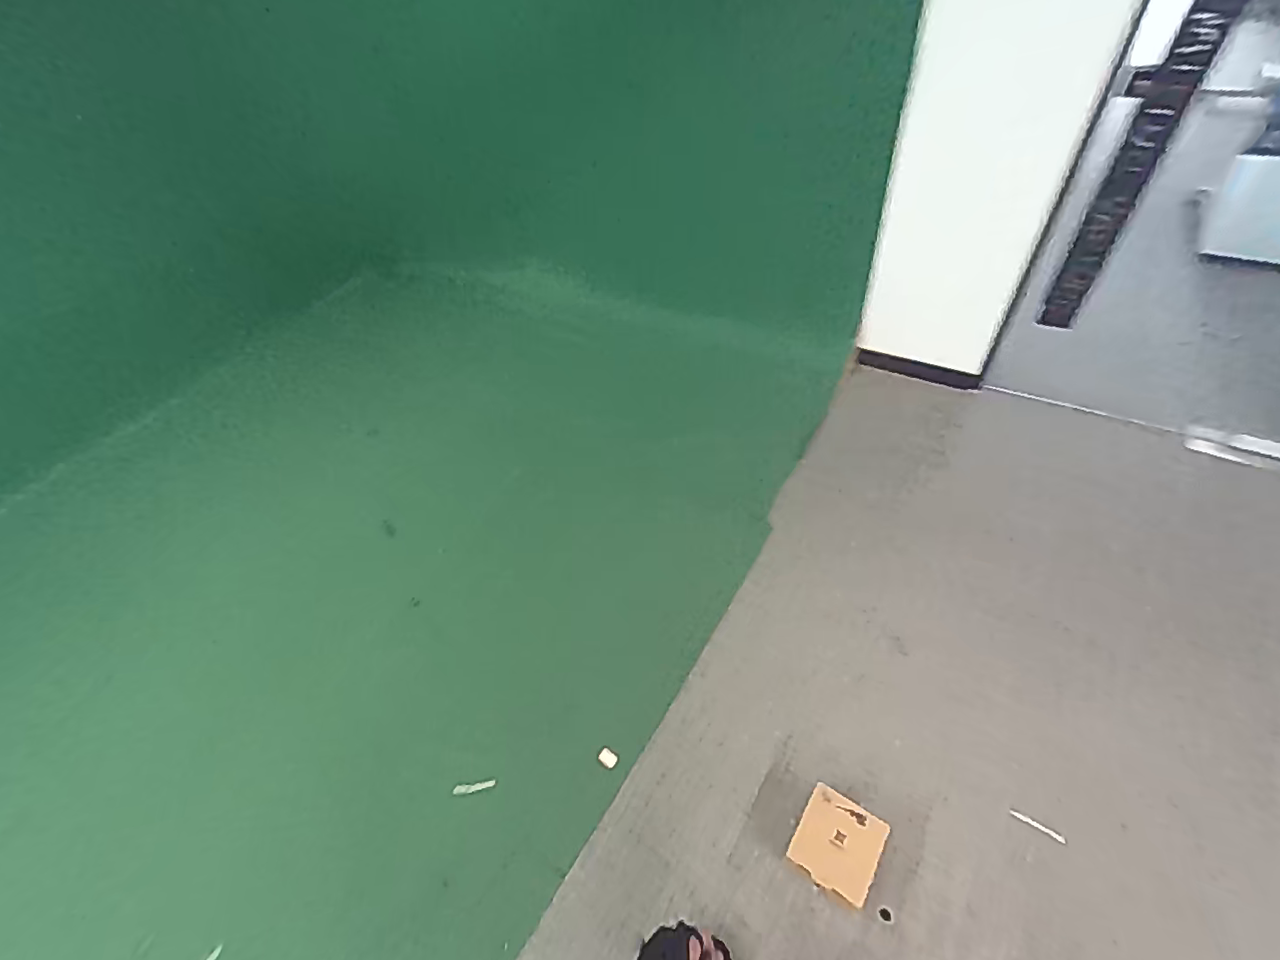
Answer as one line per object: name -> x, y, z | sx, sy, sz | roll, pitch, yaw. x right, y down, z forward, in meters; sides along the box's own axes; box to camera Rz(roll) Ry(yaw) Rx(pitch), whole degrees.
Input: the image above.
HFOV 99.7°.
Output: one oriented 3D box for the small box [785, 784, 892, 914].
small box -> 0.439, 0.828, 1.212 | 0.168, 0.176, 0.179 | 25, 60, 28
